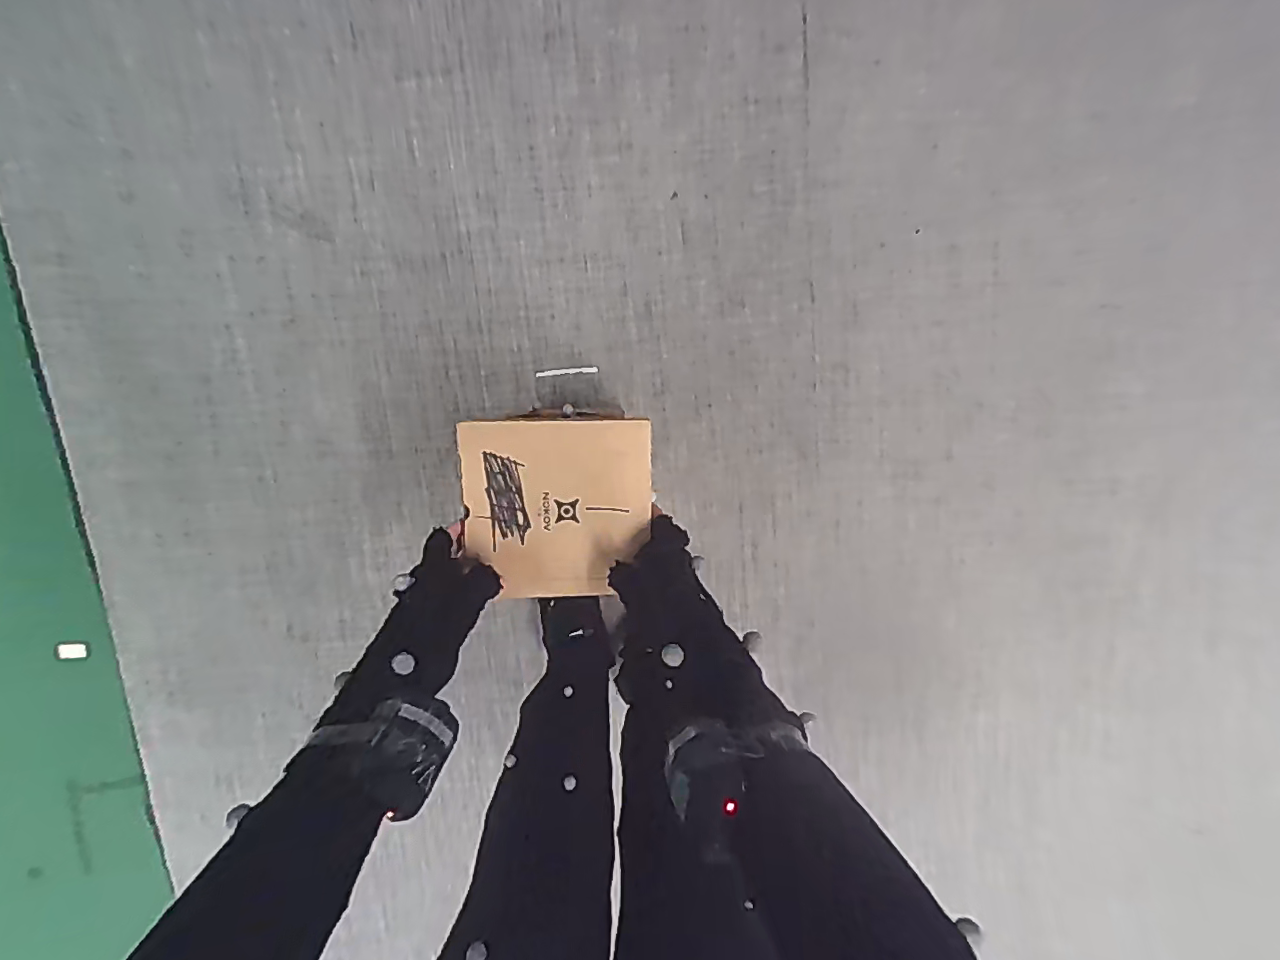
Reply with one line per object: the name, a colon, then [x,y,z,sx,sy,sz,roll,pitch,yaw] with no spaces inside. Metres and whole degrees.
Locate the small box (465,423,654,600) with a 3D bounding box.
small box: [-0.079,0.023,0.584,0.179,0.176,0.168,-1,97,-5]
